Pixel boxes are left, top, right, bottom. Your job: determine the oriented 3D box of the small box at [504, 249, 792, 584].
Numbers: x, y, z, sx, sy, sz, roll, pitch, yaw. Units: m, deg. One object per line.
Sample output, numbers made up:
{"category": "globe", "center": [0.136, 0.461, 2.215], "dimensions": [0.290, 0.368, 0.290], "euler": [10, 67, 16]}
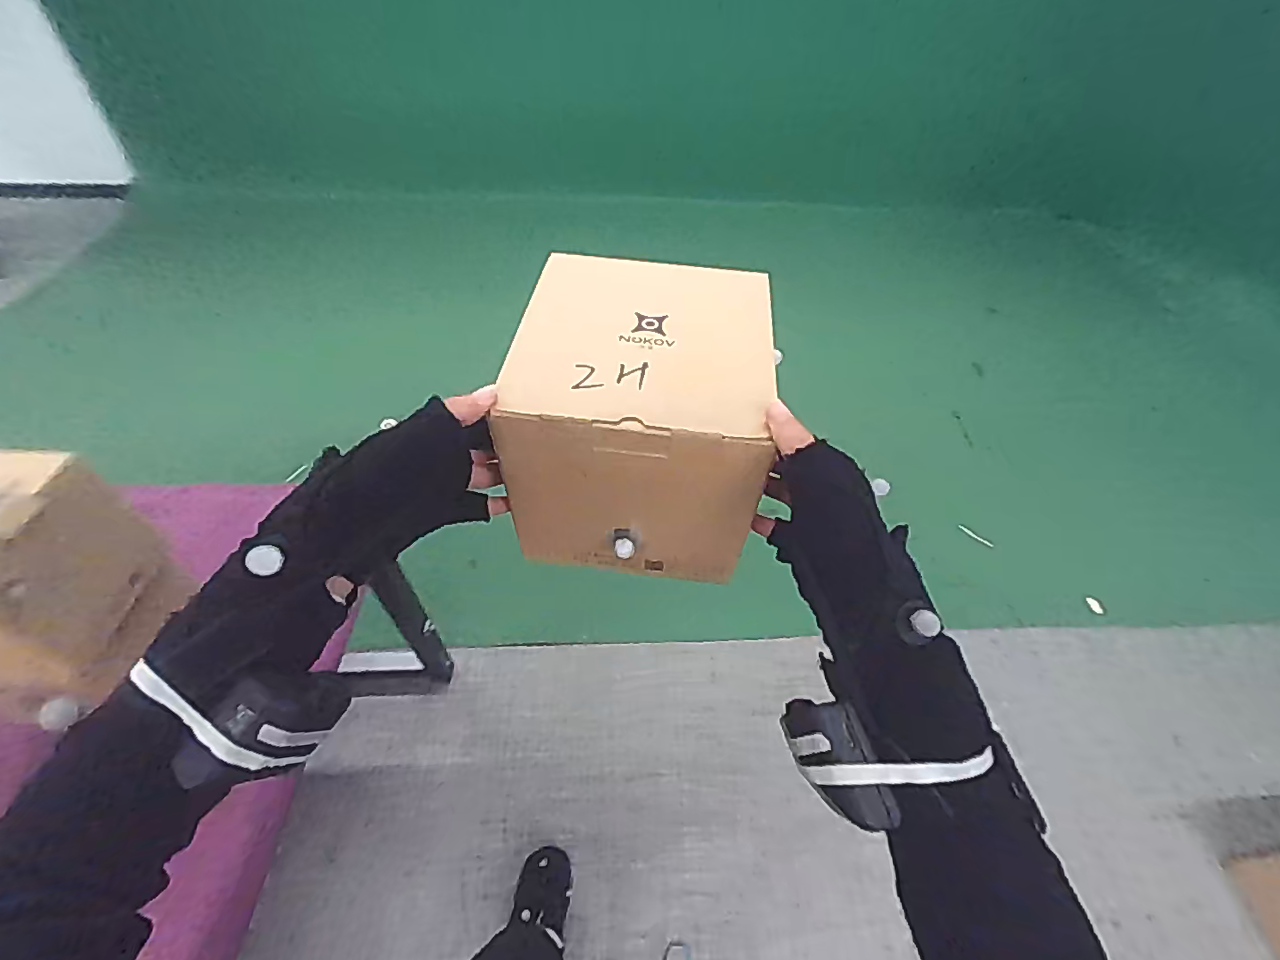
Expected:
{"category": "small box", "center": [0.010, -0.045, 0.412], "dimensions": [0.168, 0.176, 0.179], "euler": [7, 52, 3]}
